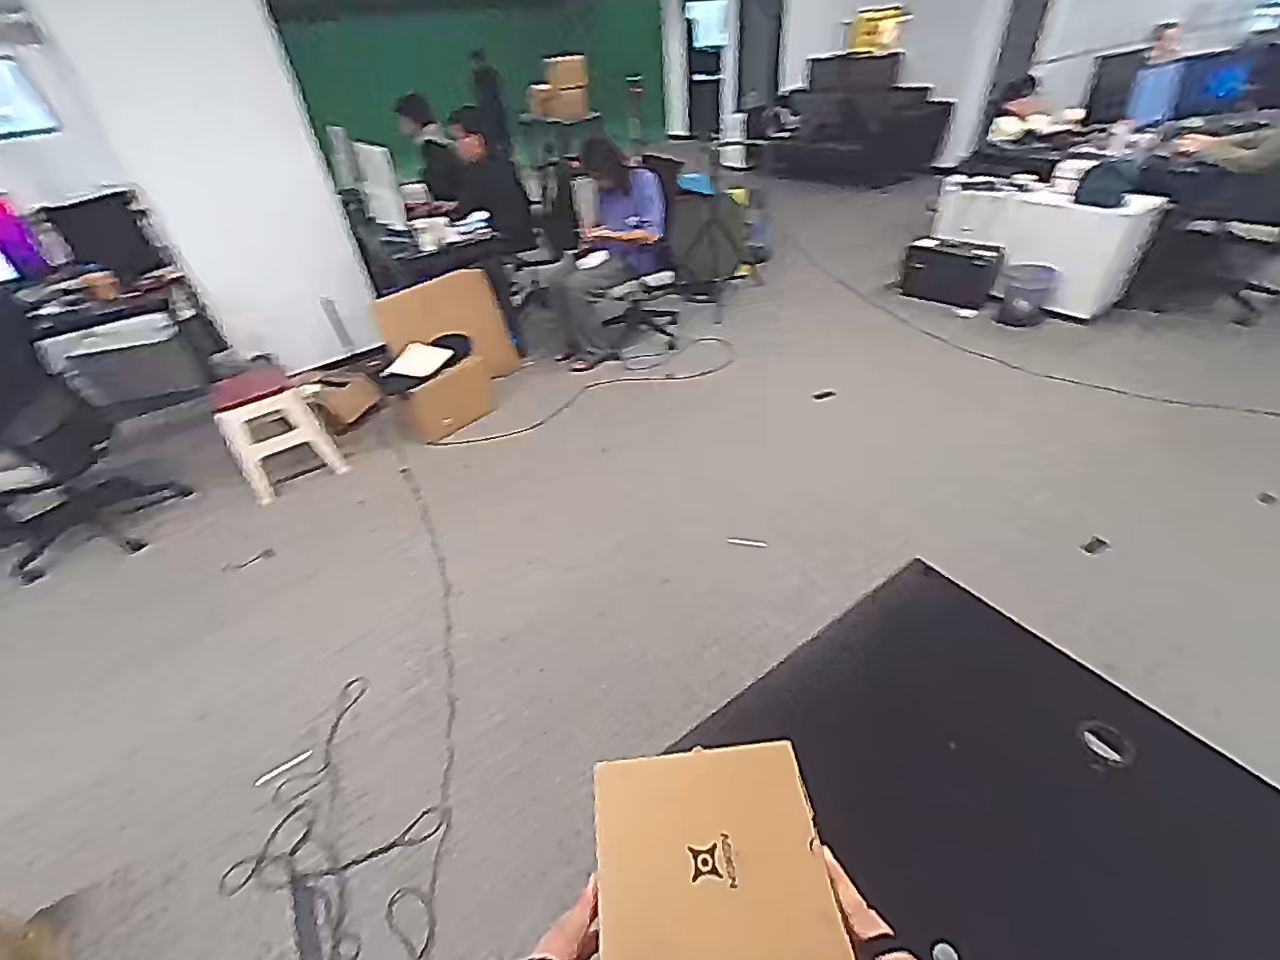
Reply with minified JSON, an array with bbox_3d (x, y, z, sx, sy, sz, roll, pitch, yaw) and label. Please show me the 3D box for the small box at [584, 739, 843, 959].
[{"bbox_3d":[0.049,0.353,0.469,0.179,0.176,0.168,-5,41,-4],"label":"small box"}]
